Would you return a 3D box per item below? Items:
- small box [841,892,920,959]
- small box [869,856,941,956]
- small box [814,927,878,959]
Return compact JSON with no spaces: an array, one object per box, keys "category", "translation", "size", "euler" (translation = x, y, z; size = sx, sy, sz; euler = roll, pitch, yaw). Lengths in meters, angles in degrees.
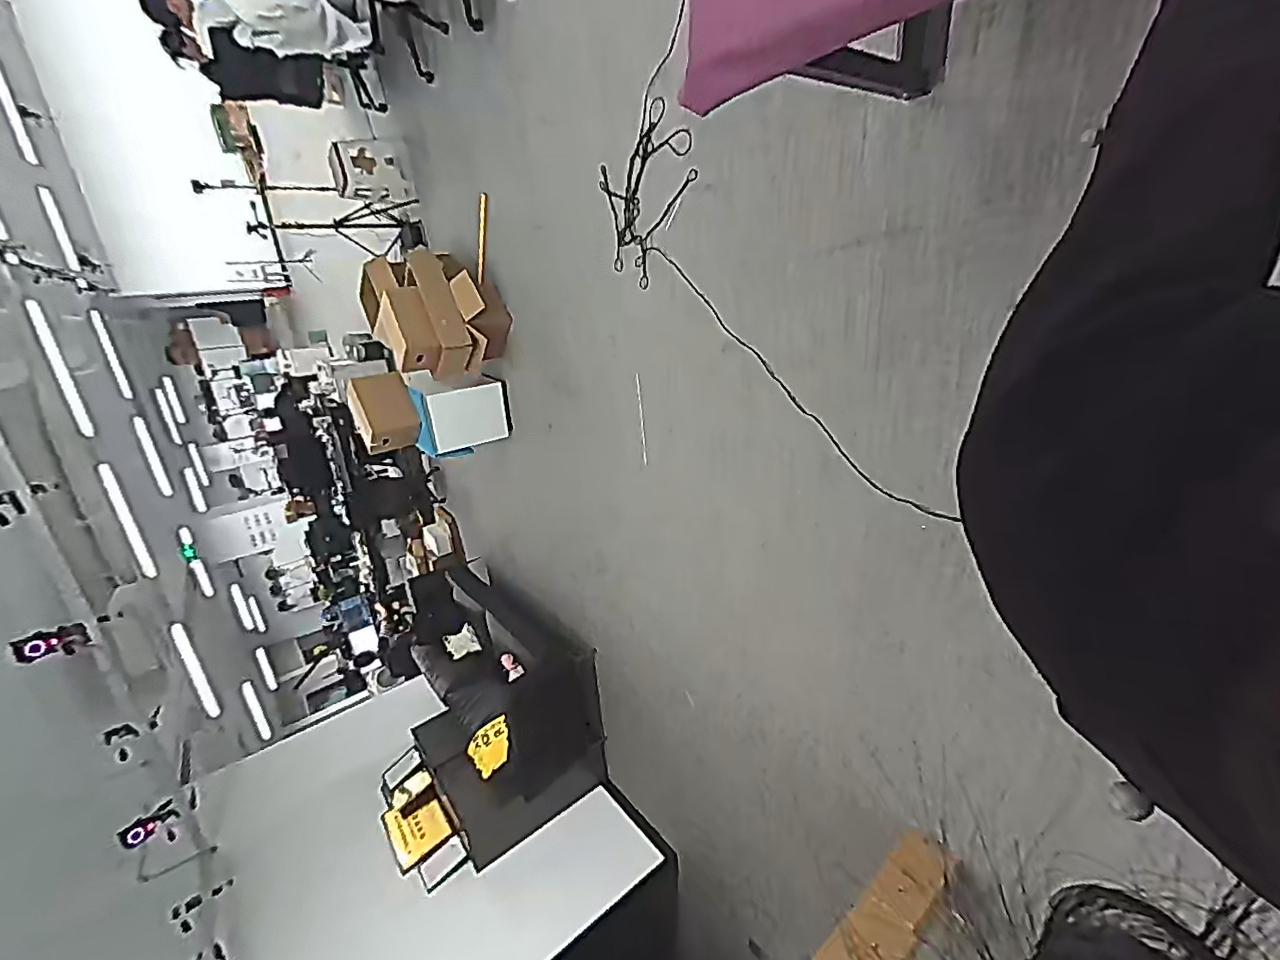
[{"category":"small box","translation":[0.759,1.470,1.708],"size":[0.179,0.176,0.168],"euler":[18,121,50]},{"category":"small box","translation":[0.882,1.416,1.804],"size":[0.168,0.176,0.179],"euler":[17,120,51]},{"category":"small box","translation":[0.629,1.516,1.619],"size":[0.168,0.176,0.179],"euler":[16,119,50]}]
